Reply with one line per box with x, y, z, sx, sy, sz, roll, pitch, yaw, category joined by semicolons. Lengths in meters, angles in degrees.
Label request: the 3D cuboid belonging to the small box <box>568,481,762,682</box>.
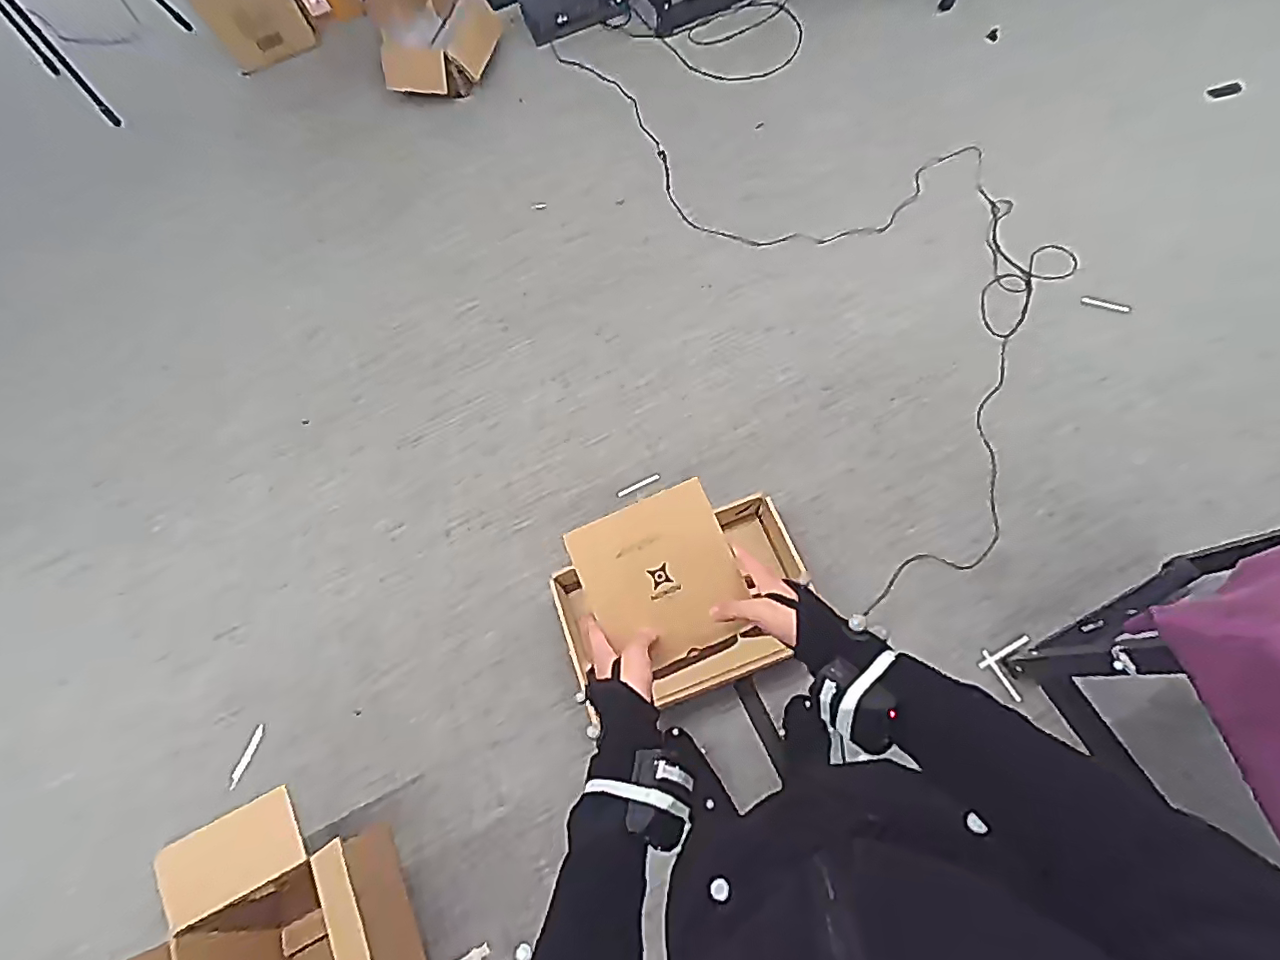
0.028;0.115;0.664;0.168;0.176;0.179;-23;84;-2;small box
